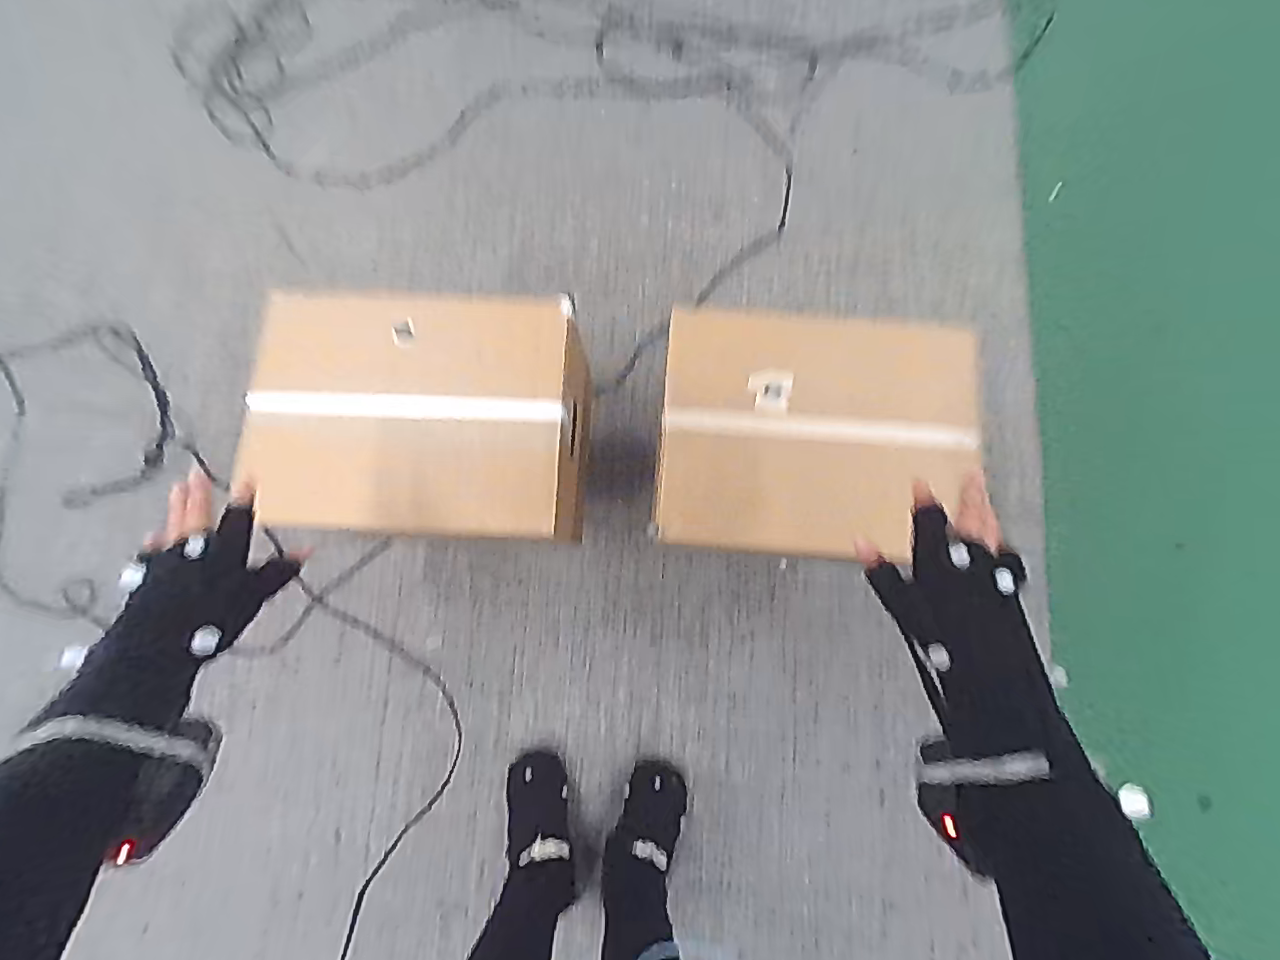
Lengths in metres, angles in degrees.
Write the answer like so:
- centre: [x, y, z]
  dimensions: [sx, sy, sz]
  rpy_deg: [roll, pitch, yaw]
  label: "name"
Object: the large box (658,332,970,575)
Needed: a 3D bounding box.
- centre: [0.241, -0.020, 0.868]
  dimensions: [0.408, 0.320, 0.320]
  rpy_deg: [5, 80, 2]
  label: "large box"
